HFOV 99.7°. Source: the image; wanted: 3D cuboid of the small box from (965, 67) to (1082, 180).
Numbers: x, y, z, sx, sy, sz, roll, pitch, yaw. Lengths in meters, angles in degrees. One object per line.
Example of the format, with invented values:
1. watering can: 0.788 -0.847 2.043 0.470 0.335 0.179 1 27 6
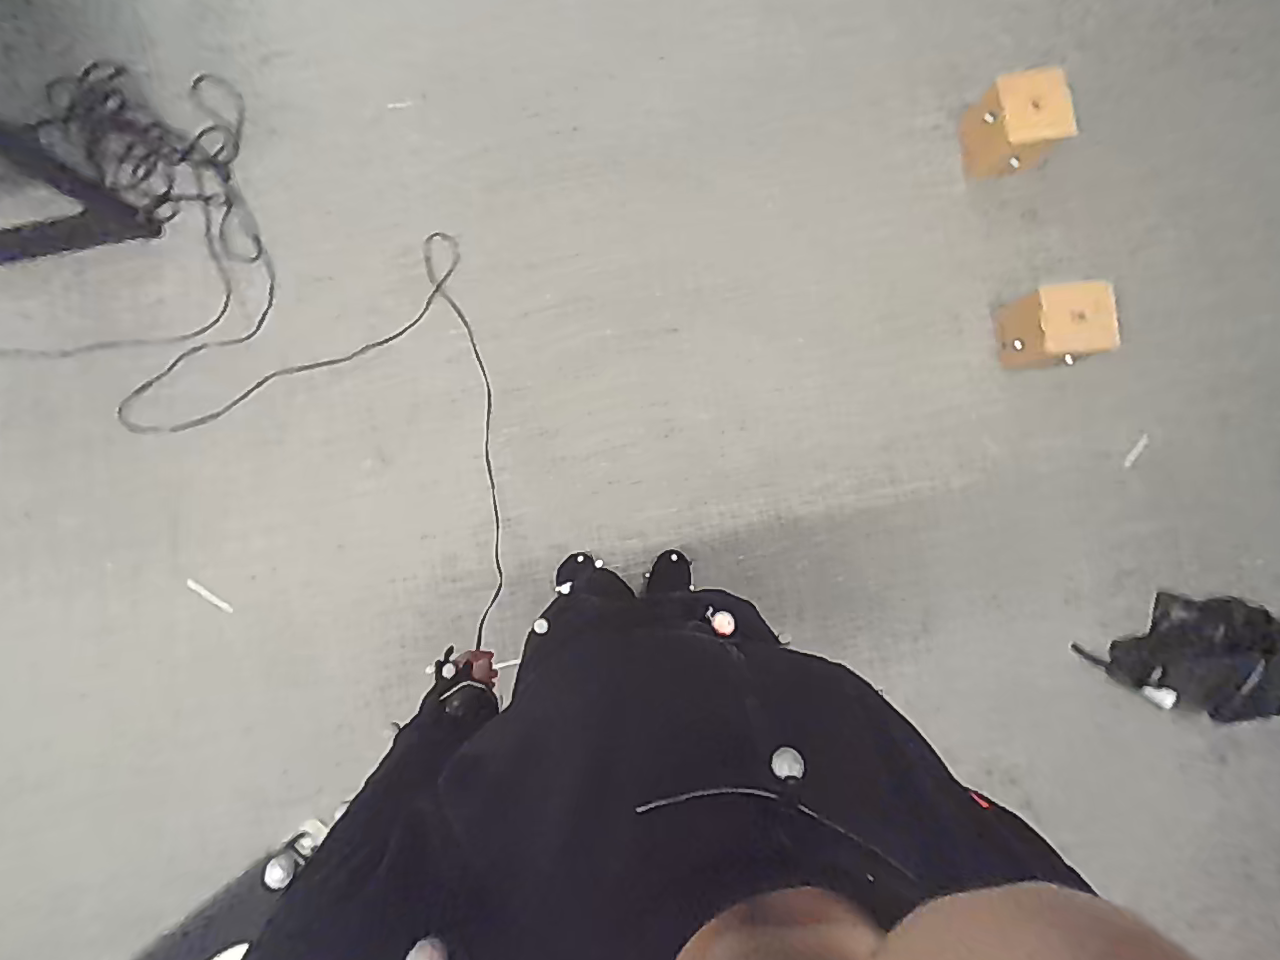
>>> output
1. small box: 0.961 -0.889 1.369 0.168 0.176 0.179 -8 86 0

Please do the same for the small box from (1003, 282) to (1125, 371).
1. small box: 1.031 -0.372 1.333 0.179 0.176 0.168 -4 87 -1
